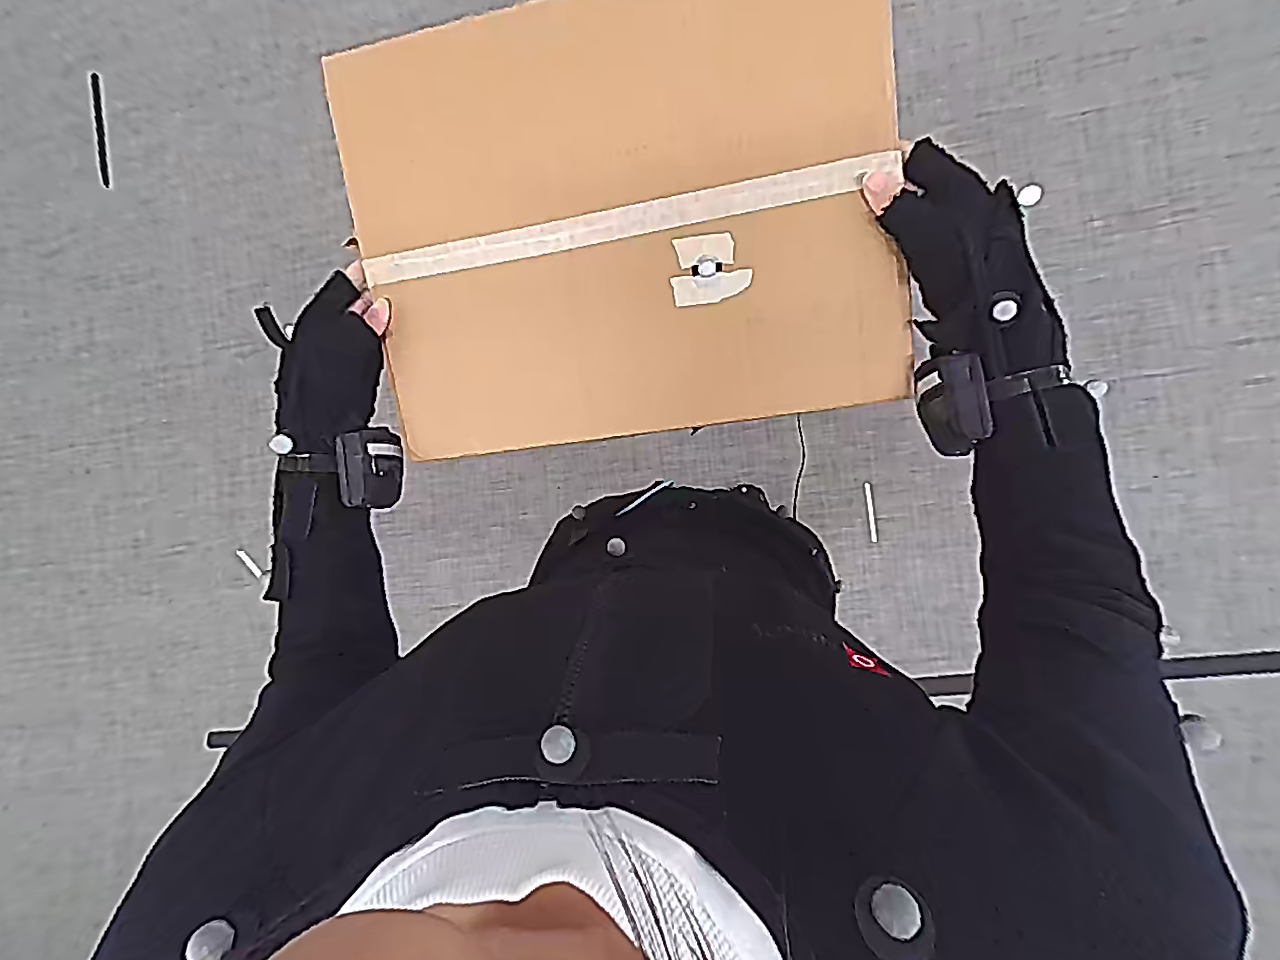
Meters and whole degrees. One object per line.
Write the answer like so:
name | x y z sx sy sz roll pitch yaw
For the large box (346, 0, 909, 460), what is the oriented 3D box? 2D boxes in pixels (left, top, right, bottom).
large box | 0.003 -0.219 0.559 0.408 0.320 0.320 -8 100 9
